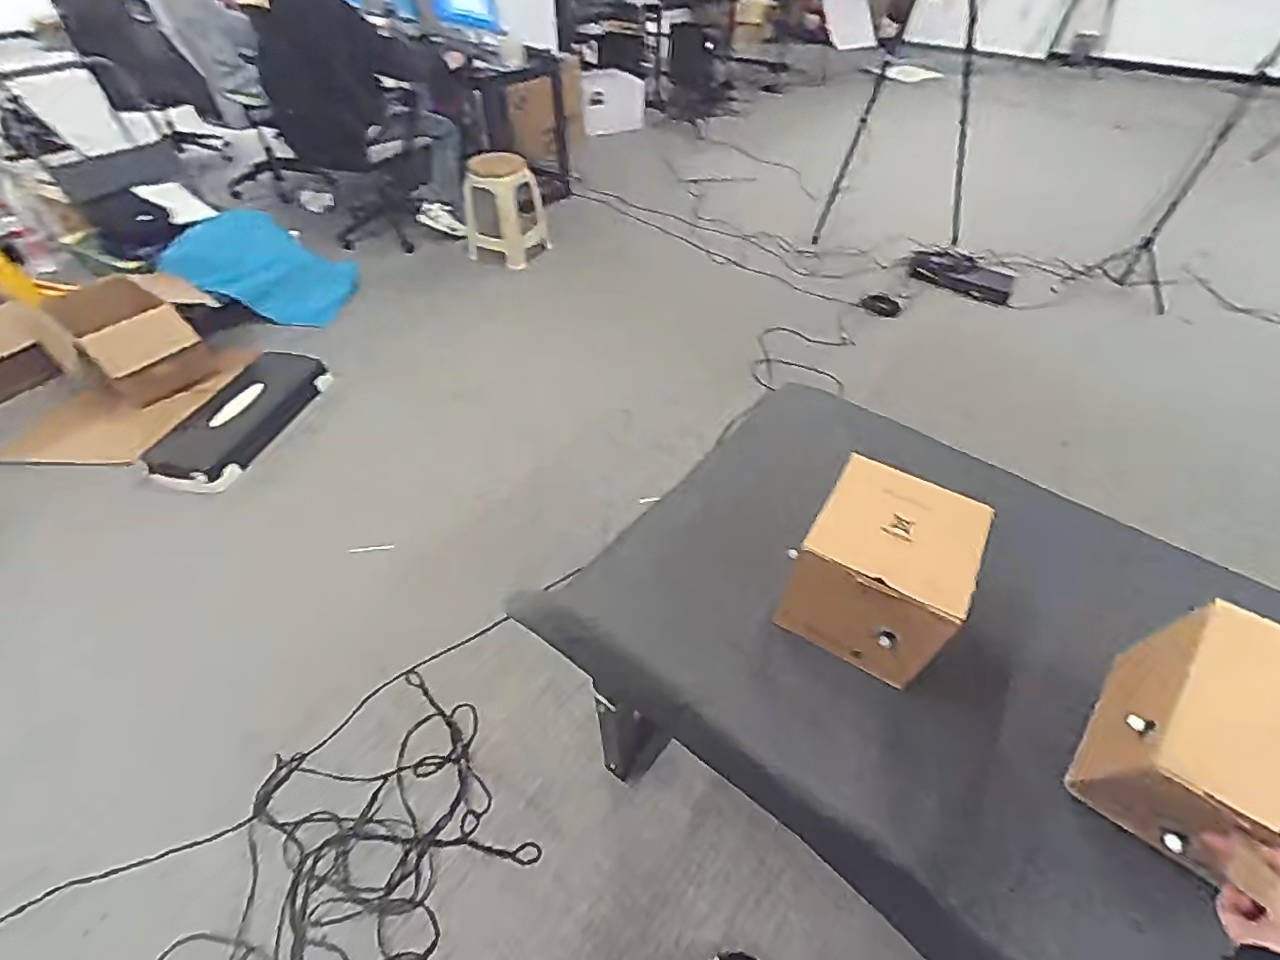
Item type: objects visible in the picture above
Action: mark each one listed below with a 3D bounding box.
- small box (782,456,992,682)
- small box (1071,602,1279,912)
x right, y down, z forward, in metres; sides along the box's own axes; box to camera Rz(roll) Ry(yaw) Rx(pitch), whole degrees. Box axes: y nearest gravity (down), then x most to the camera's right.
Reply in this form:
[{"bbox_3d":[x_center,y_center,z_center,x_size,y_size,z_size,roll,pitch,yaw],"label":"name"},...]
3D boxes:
[{"bbox_3d":[0.288,0.109,0.656,0.168,0.176,0.179,26,51,20],"label":"small box"},{"bbox_3d":[0.537,0.248,0.485,0.168,0.176,0.179,31,67,28],"label":"small box"}]
